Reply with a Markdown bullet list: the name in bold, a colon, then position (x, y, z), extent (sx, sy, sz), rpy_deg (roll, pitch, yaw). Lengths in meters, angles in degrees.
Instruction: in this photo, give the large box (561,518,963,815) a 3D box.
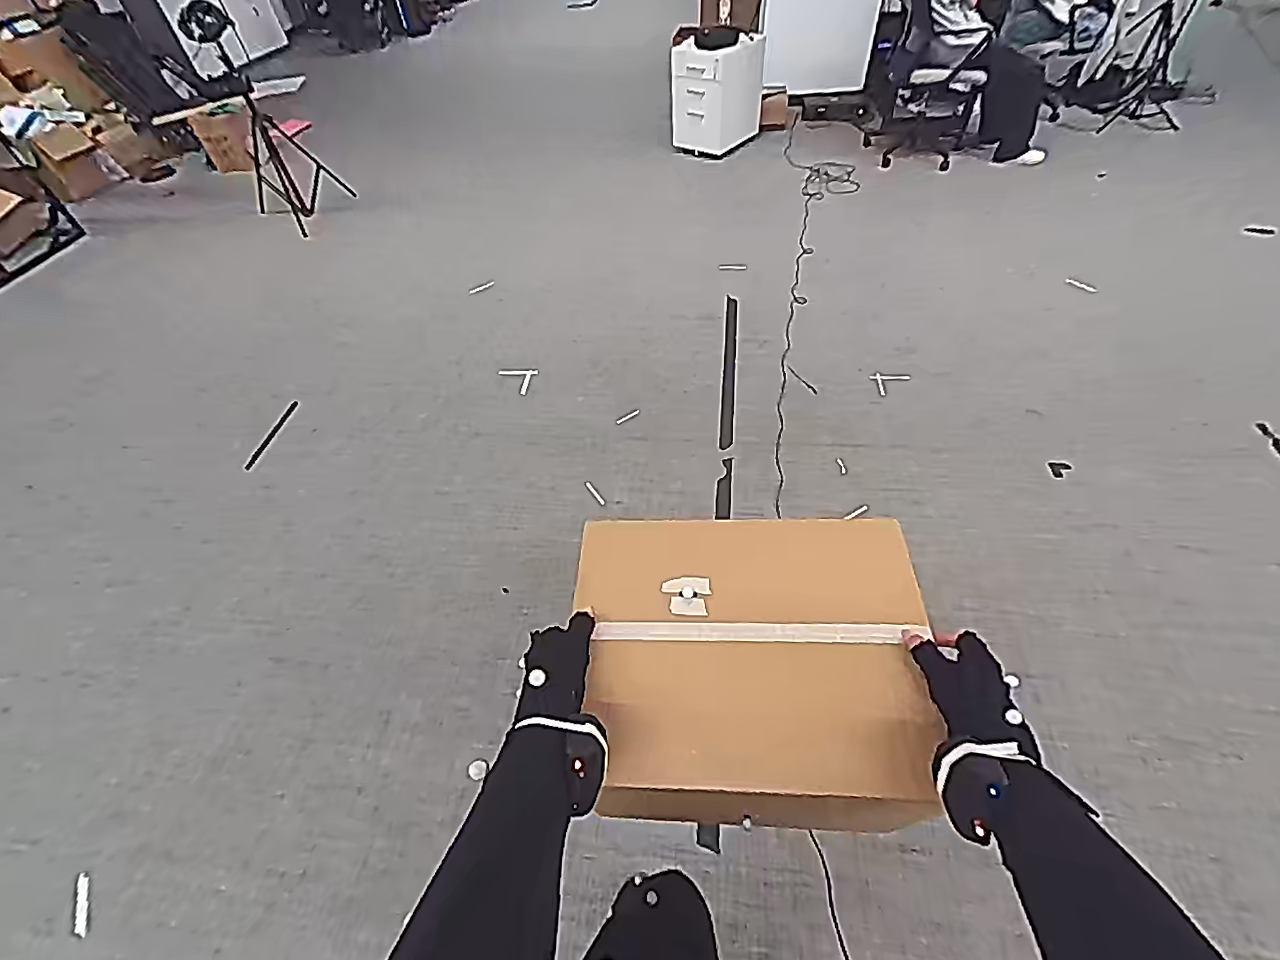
- **large box**: position (0.137, 0.266, 0.744), extent (0.408, 0.320, 0.320), rpy_deg (-1, 52, 6)
